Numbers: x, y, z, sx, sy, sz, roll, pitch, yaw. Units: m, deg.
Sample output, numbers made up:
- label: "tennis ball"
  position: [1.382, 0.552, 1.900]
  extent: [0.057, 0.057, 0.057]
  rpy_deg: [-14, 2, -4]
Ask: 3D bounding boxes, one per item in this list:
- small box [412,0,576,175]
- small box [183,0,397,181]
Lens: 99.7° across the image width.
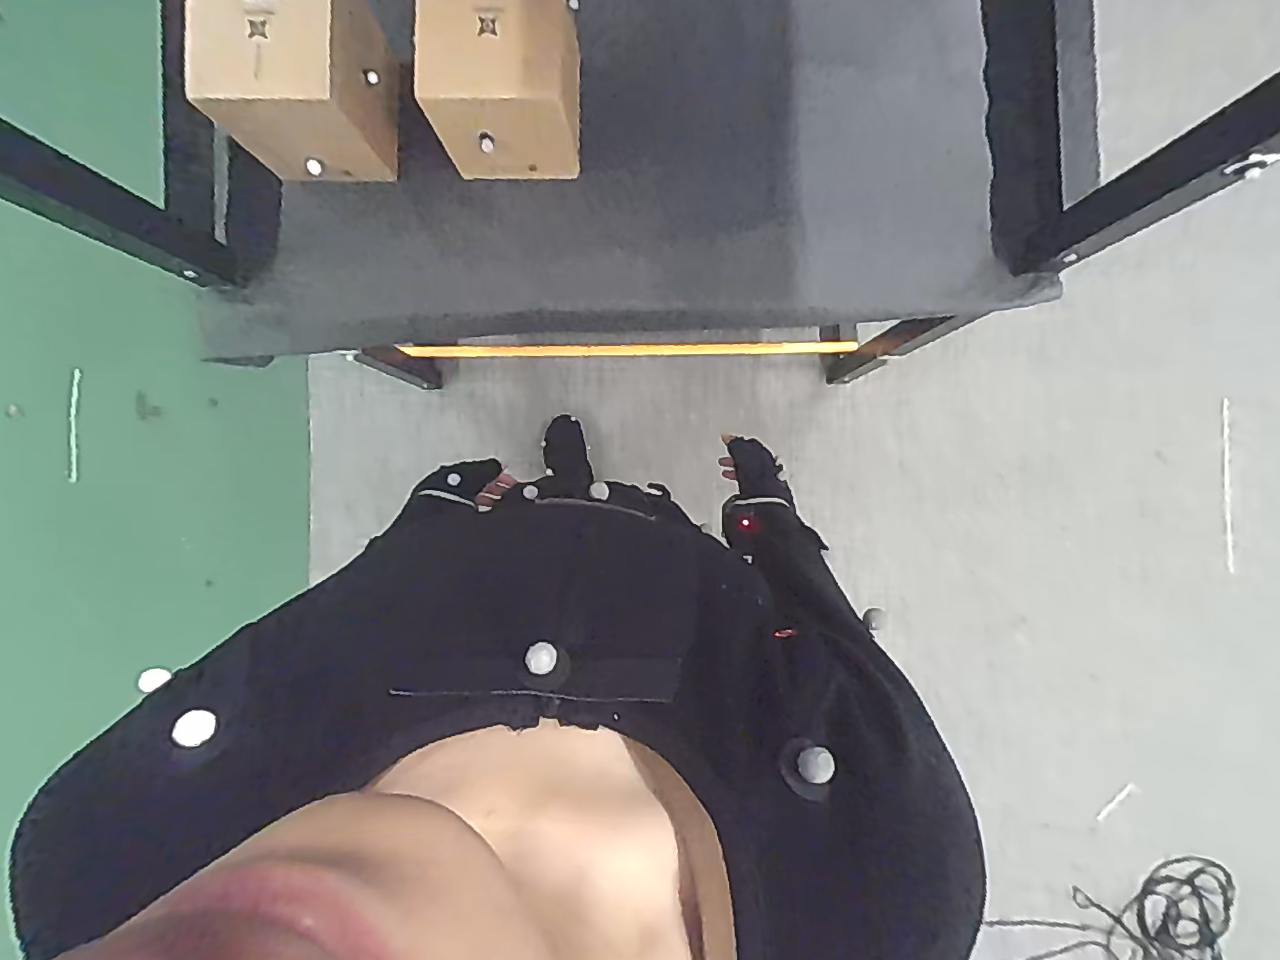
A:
- label: "small box"
  position: [-0.172, -0.515, 0.685]
  extent: [0.168, 0.176, 0.179]
  rpy_deg: [0, 89, 0]
- label: "small box"
  position: [-0.425, -0.512, 0.683]
  extent: [0.168, 0.176, 0.179]
  rpy_deg: [0, 90, 0]
